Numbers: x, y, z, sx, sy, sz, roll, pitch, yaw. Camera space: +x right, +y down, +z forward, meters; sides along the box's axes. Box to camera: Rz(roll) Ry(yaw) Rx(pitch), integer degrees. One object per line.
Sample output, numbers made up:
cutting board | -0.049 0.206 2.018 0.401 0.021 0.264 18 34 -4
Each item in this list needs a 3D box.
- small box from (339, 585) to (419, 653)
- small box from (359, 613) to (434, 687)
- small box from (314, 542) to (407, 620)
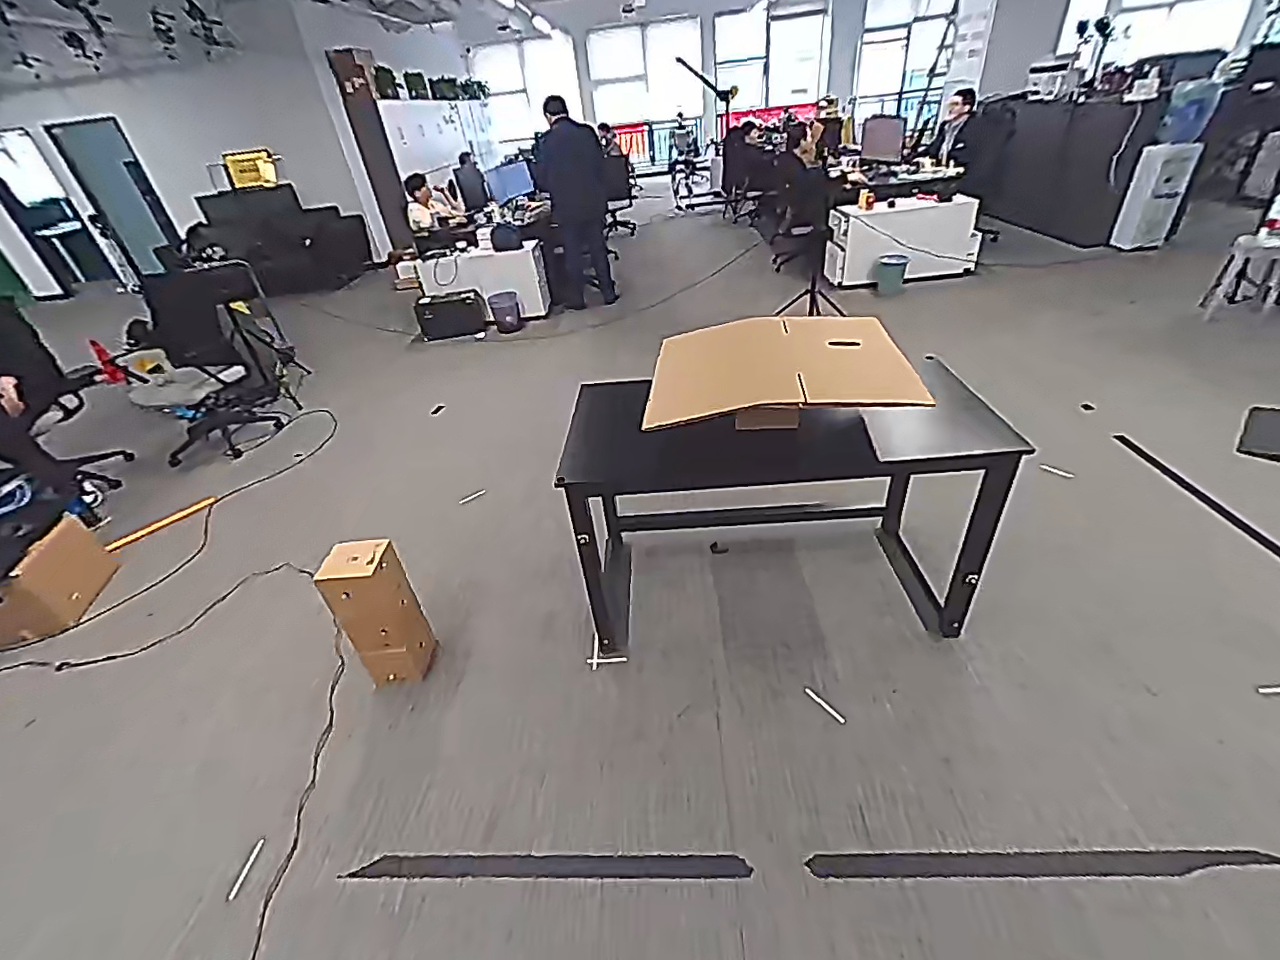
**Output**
small box | -0.848 0.450 1.776 0.168 0.176 0.179 -7 33 -3
small box | -0.828 0.585 1.863 0.168 0.176 0.179 -7 35 1
small box | -0.860 0.317 1.681 0.179 0.176 0.168 -6 35 1
